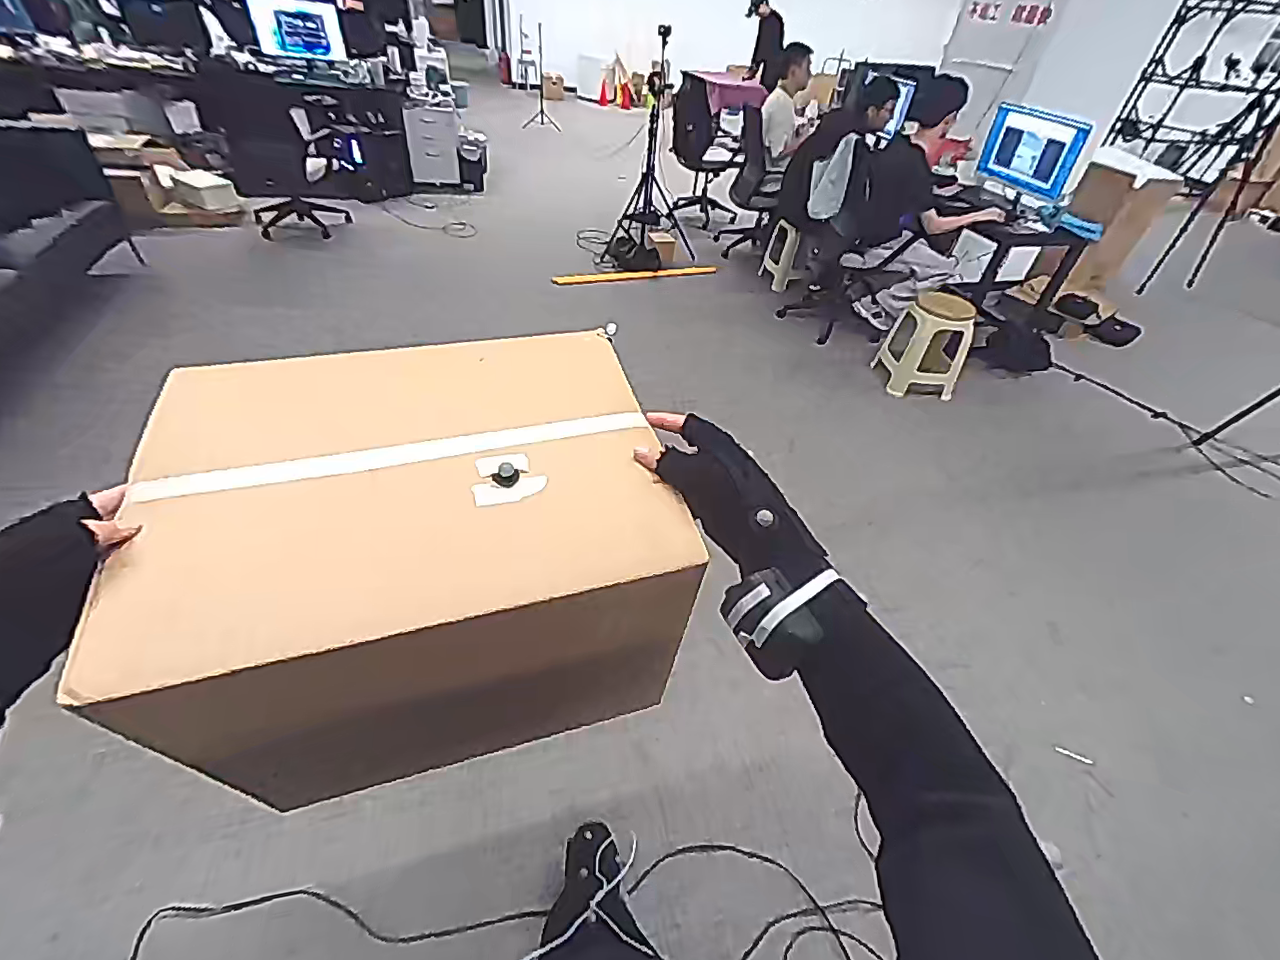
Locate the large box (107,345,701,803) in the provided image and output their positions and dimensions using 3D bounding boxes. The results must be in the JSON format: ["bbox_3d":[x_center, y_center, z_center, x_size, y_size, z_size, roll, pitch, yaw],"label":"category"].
[{"bbox_3d":[-0.198,0.085,0.580,0.408,0.320,0.320,-9,50,-16],"label":"large box"}]
